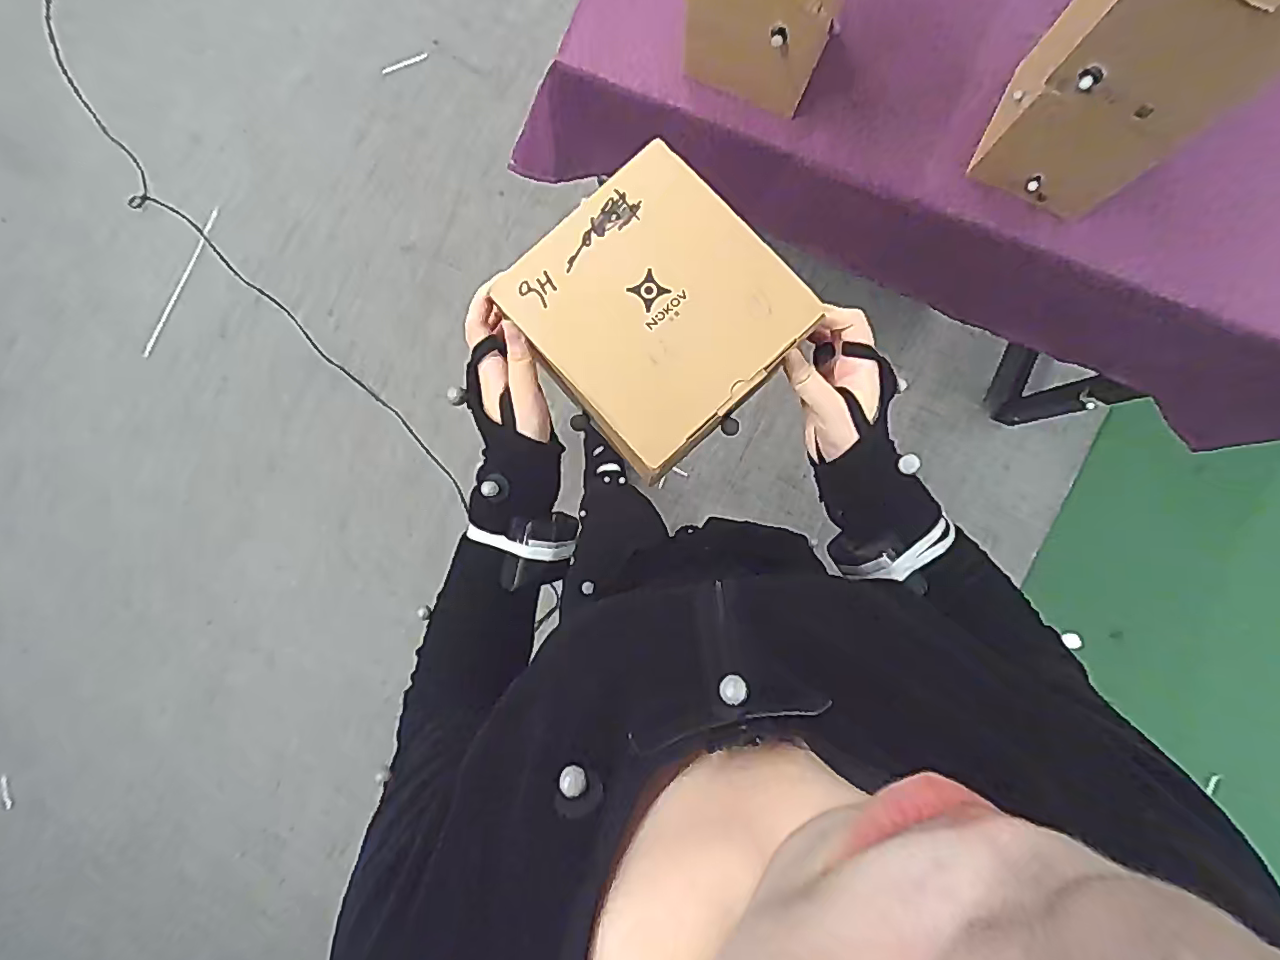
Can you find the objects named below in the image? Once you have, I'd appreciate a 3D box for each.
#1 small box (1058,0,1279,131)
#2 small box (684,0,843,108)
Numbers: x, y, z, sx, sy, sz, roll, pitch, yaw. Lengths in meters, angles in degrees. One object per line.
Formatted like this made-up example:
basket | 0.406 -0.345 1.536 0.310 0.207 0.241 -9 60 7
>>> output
small box | 0.554 -0.485 0.514 0.168 0.176 0.179 29 89 4
small box | 0.170 -0.636 0.705 0.179 0.176 0.168 26 89 4
